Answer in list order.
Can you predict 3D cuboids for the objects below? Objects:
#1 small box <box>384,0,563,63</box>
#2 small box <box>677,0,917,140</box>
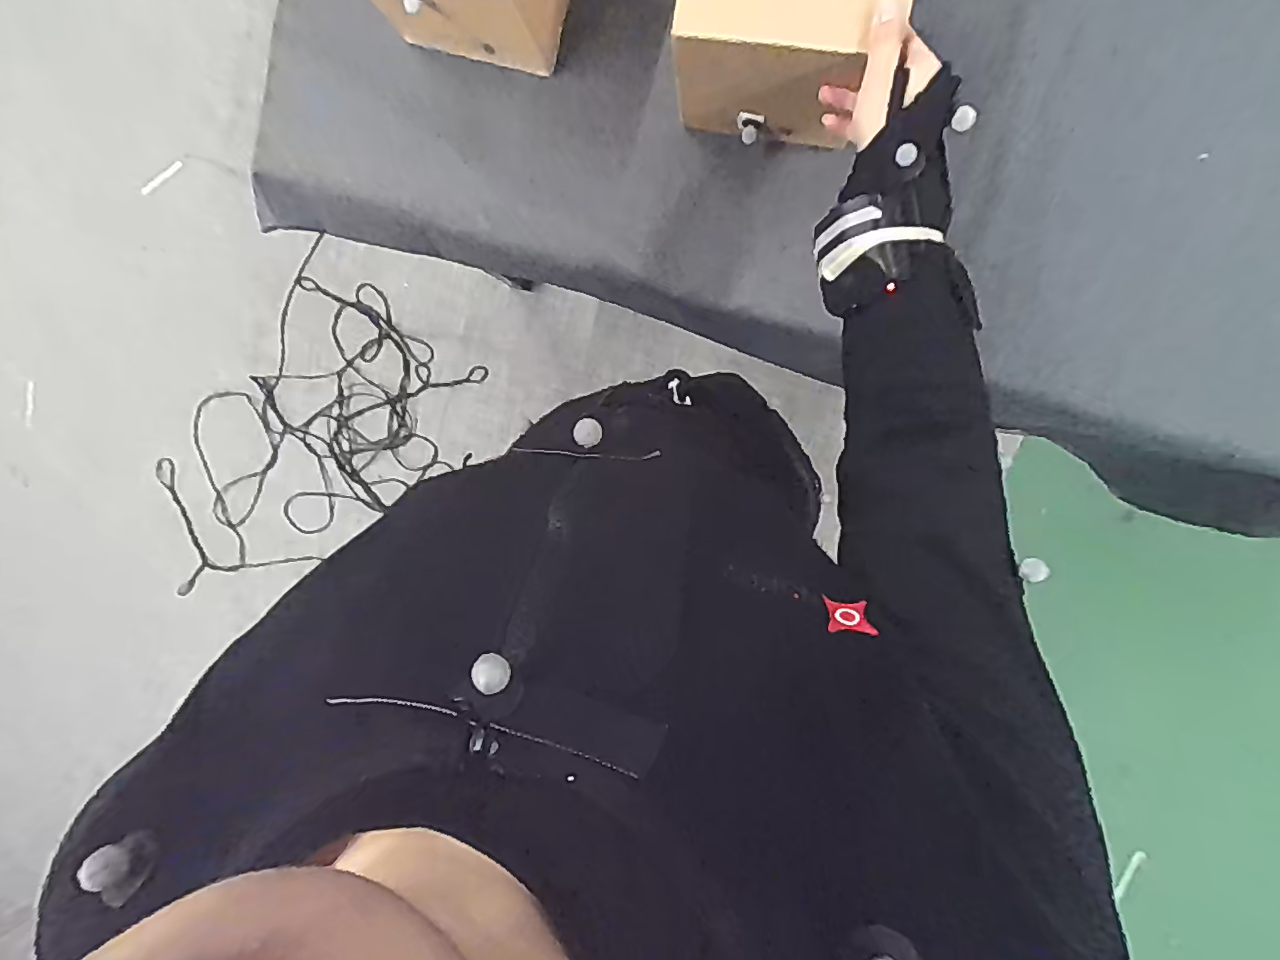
[{"bbox_3d":[-0.155,-0.509,0.462,0.168,0.176,0.179,16,99,4],"label":"small box"},{"bbox_3d":[0.128,-0.414,0.440,0.168,0.176,0.179,10,103,6],"label":"small box"}]
